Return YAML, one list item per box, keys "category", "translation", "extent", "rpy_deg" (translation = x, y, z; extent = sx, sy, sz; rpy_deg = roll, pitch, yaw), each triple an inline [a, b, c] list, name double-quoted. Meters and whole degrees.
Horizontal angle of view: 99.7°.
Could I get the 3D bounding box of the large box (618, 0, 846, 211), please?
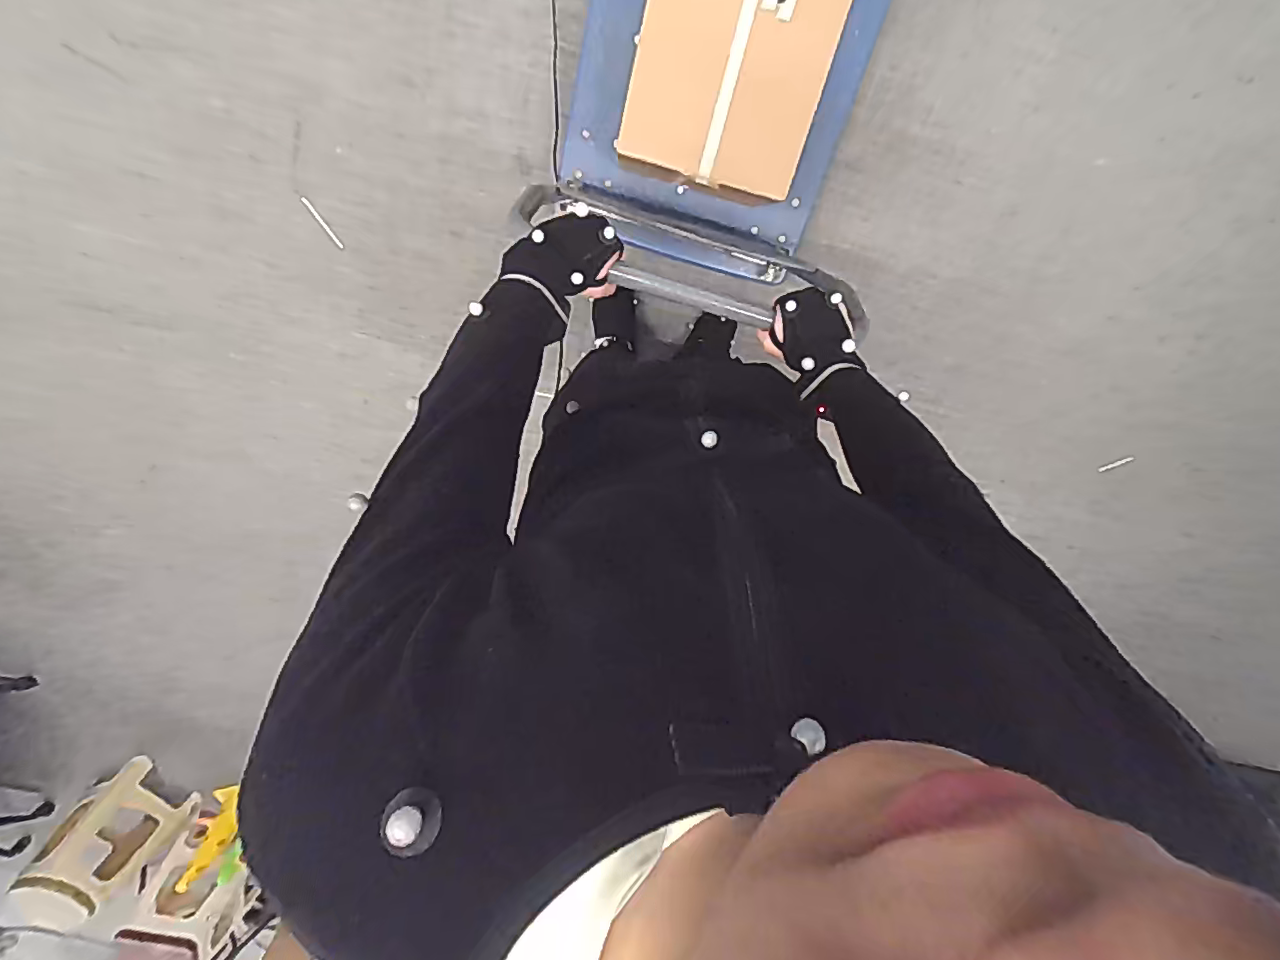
- category: "large box"
  translation: [0.155, -0.762, 1.017]
  extent: [0.320, 0.320, 0.408]
  rpy_deg: [13, 114, -6]
